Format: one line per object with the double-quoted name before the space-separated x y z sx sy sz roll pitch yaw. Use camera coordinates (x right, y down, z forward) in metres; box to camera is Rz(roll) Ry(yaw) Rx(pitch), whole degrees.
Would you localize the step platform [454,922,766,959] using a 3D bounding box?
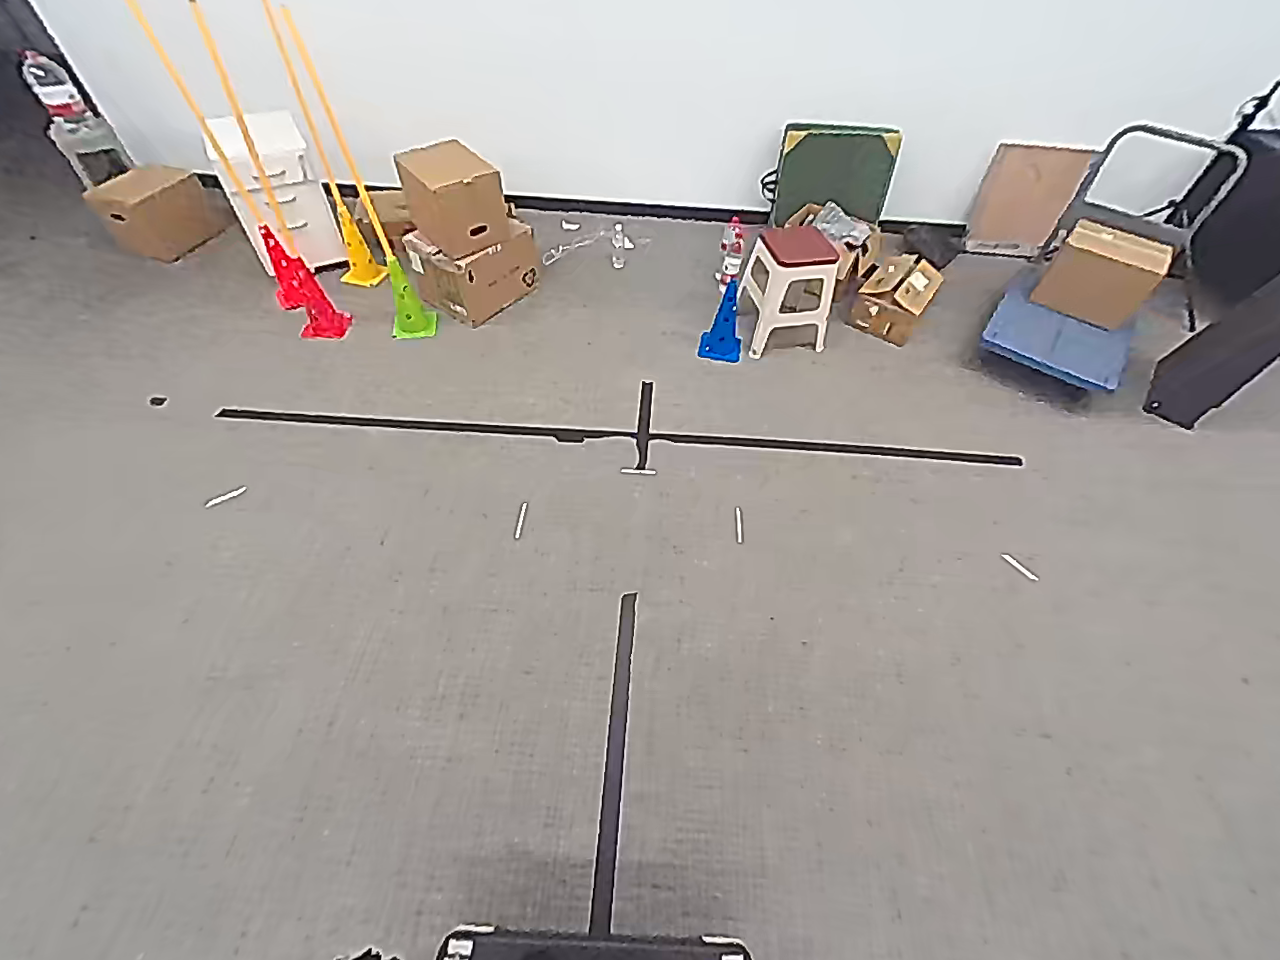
"step platform" -0.065 1.109 1.117 0.684 0.204 0.286 4 52 -2
